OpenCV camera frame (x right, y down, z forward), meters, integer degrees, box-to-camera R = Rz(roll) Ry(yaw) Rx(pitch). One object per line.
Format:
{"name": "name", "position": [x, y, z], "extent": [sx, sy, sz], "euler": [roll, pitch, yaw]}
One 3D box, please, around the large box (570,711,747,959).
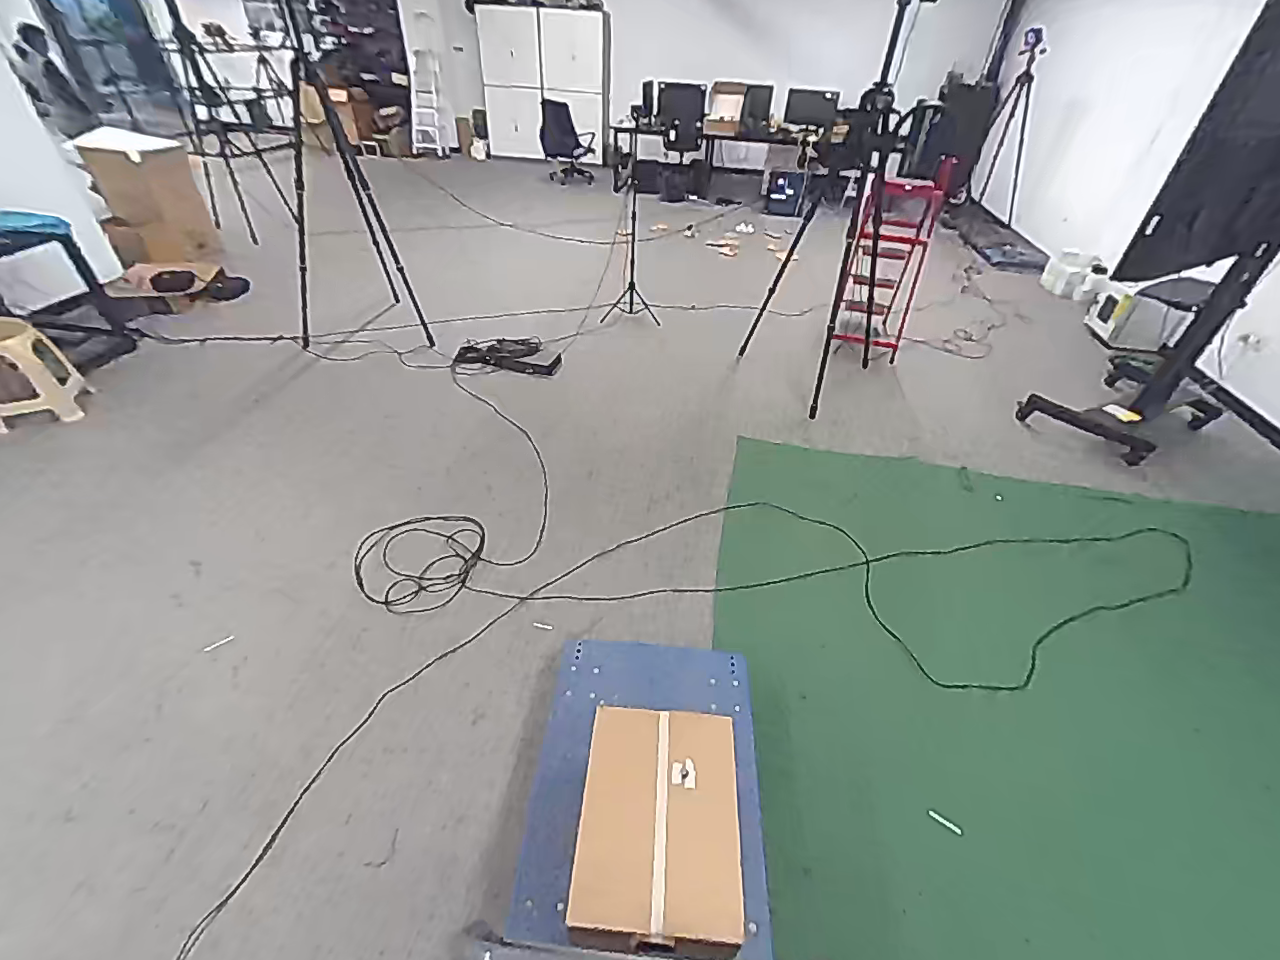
{"name": "large box", "position": [0.036, 0.777, 1.169], "extent": [0.320, 0.320, 0.408], "euler": [5, 38, 1]}
